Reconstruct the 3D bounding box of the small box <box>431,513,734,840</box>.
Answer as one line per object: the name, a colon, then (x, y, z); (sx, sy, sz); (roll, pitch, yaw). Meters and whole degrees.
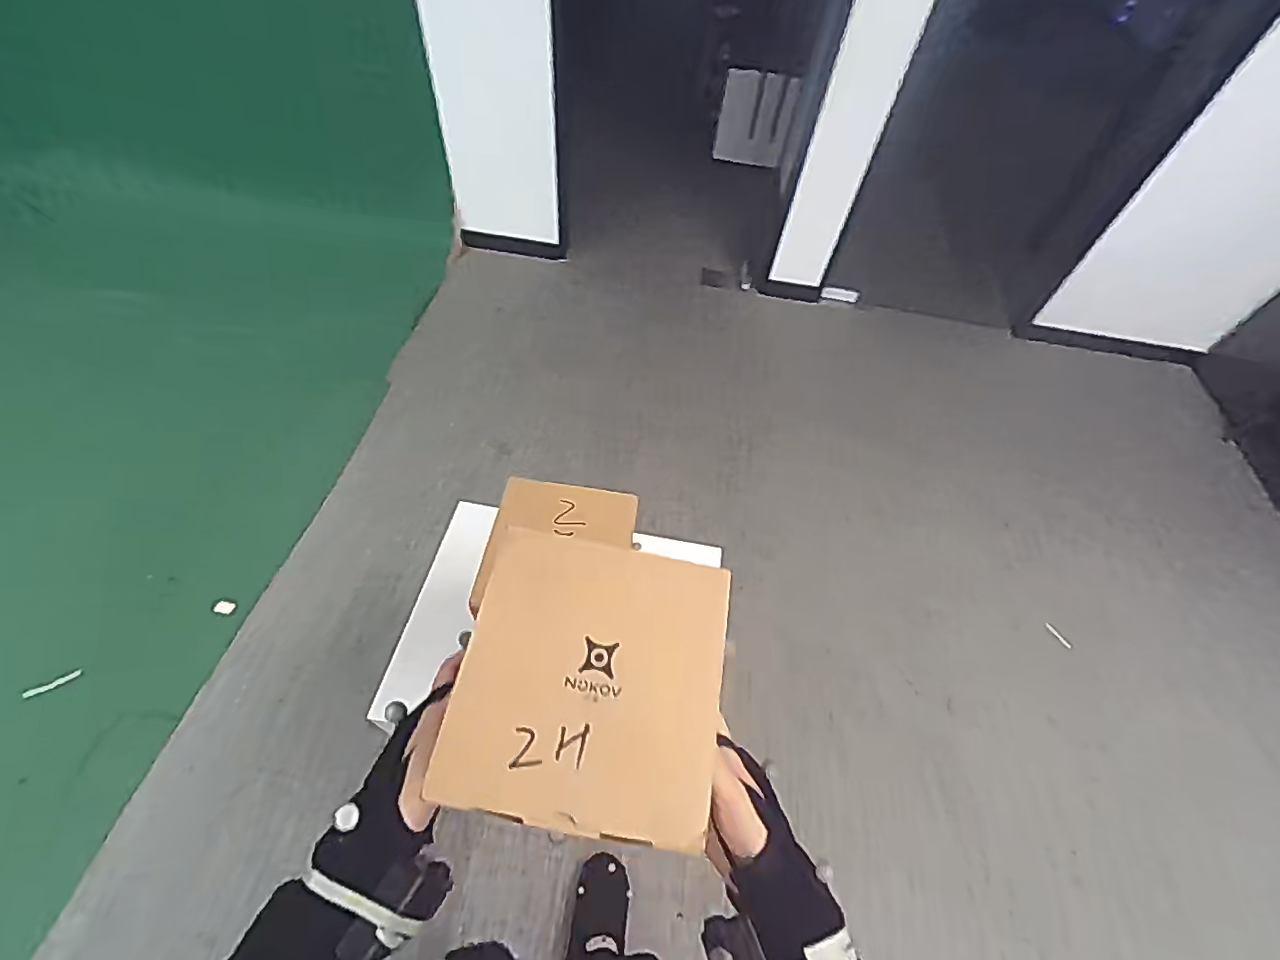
small box: (-0.035, 0.152, 0.413); (0.168, 0.176, 0.179); (11, 60, -1)
